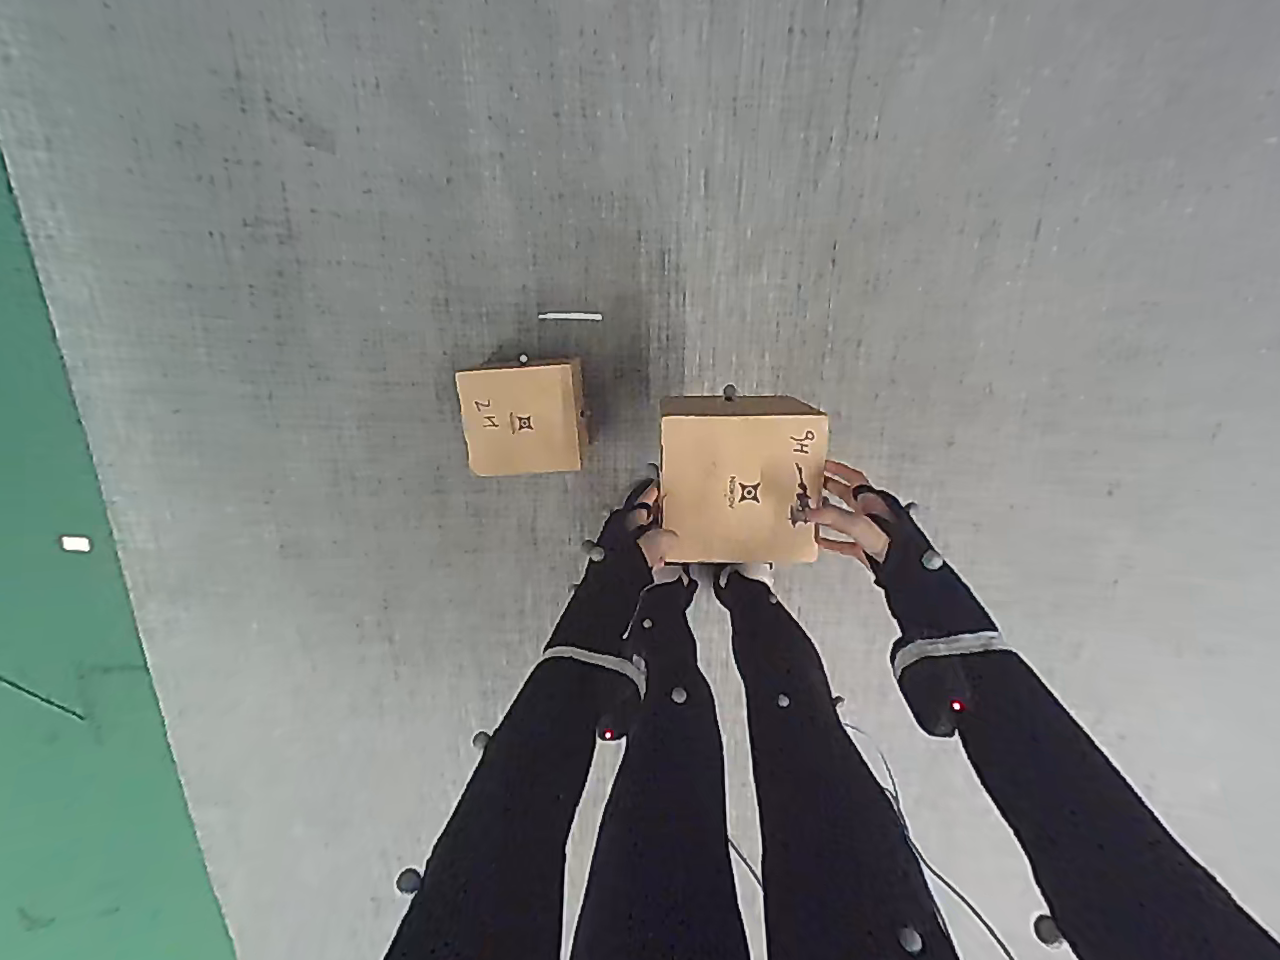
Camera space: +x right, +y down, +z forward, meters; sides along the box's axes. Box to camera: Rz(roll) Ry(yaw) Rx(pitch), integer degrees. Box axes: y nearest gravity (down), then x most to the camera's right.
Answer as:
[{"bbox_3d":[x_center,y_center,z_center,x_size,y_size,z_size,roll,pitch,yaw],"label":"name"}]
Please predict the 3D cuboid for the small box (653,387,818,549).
[{"bbox_3d":[0.107,-0.023,0.675,0.179,0.176,0.168,0,106,3],"label":"small box"}]

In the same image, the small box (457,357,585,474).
[{"bbox_3d":[-0.187,-0.115,0.911,0.179,0.176,0.168,-4,107,1],"label":"small box"}]
